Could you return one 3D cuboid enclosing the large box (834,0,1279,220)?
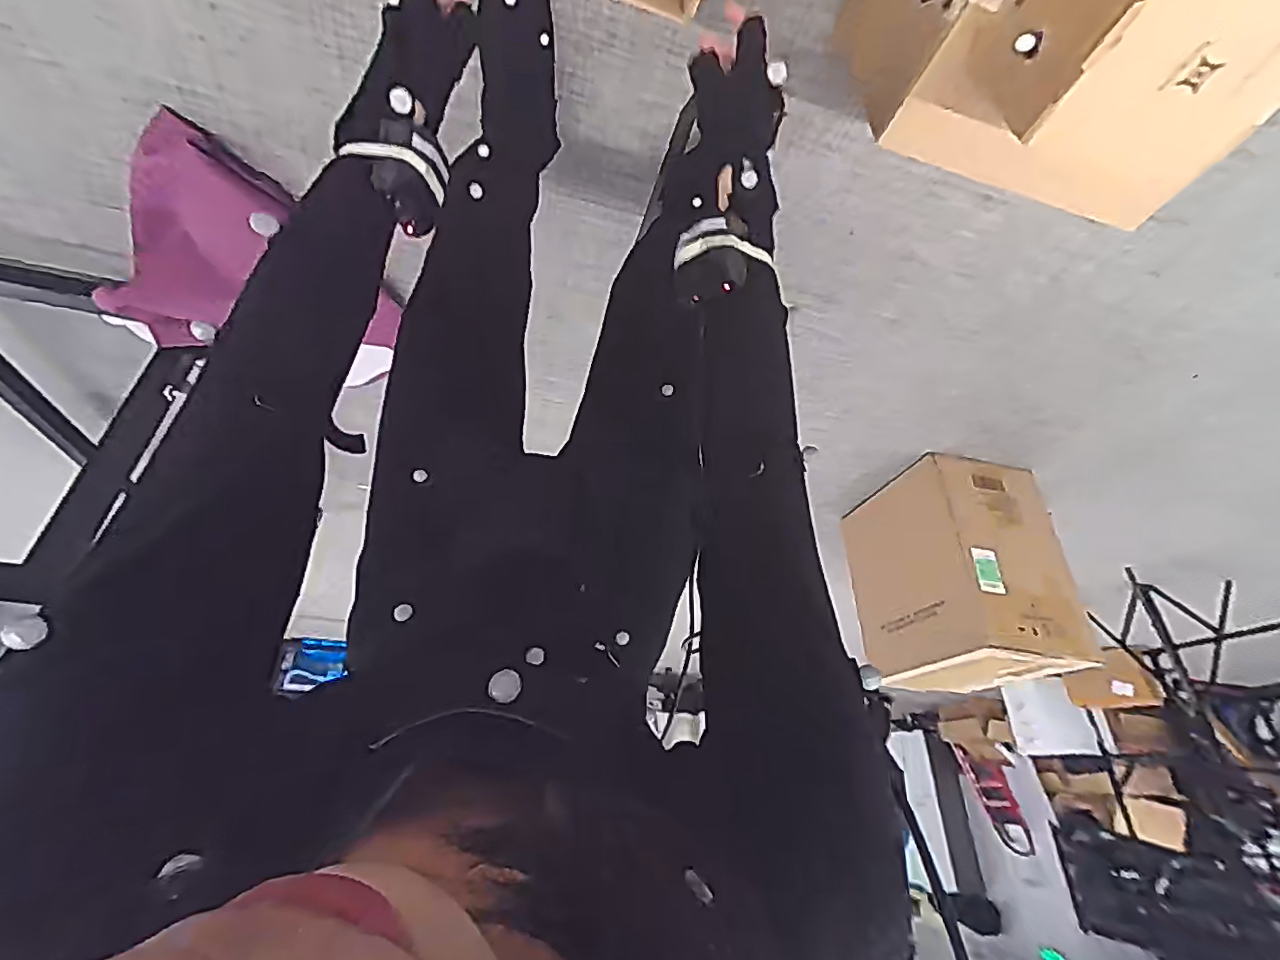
[{"bbox_3d":[0.508,-0.578,0.637,0.408,0.320,0.320,8,149,-14],"label":"large box"}]
